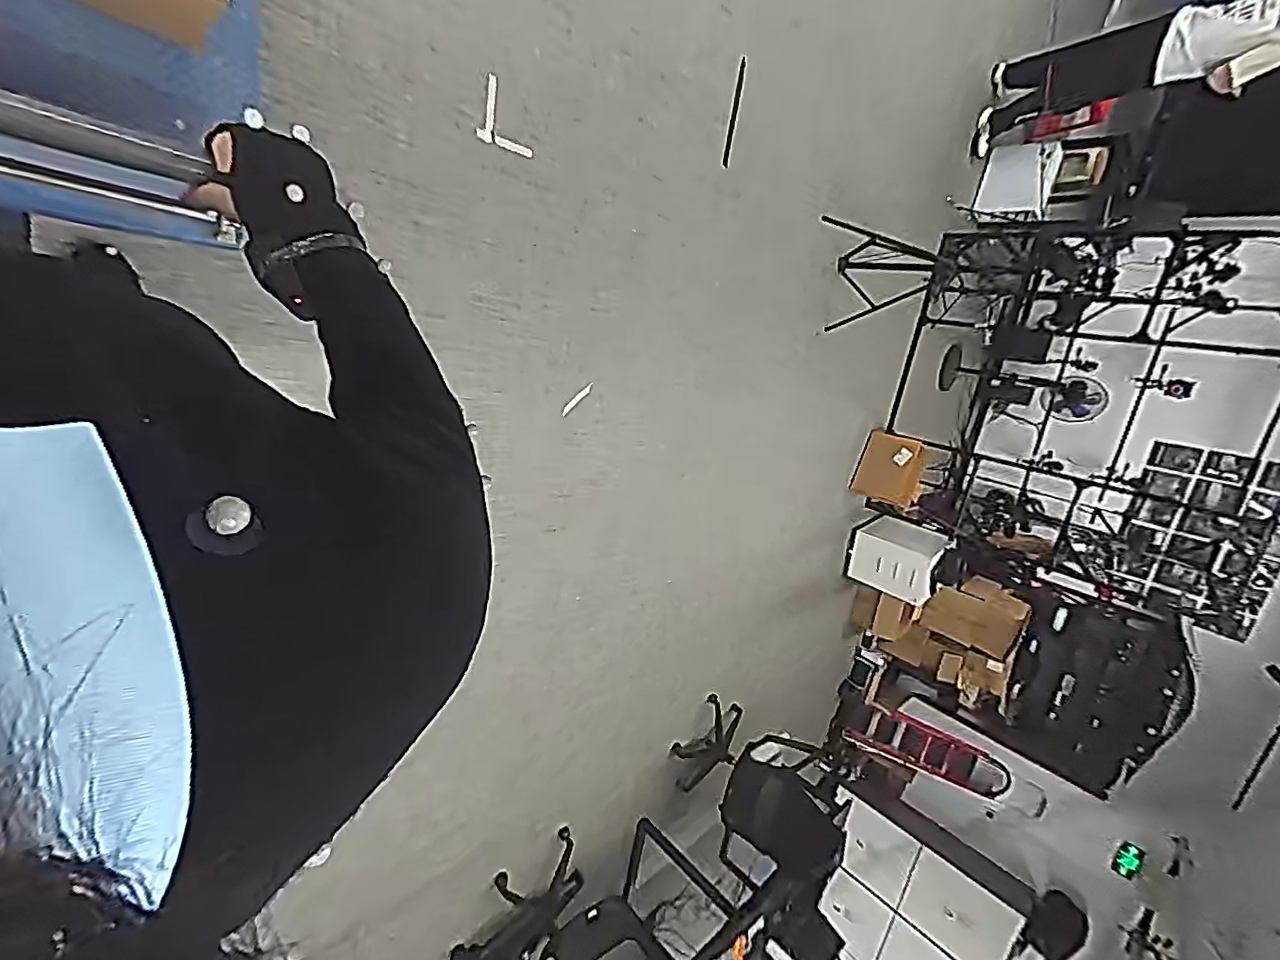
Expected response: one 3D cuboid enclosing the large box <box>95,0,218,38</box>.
[{"bbox_3d":[-0.764,-0.833,0.641,0.408,0.320,0.320,-1,107,-46],"label":"large box"}]
